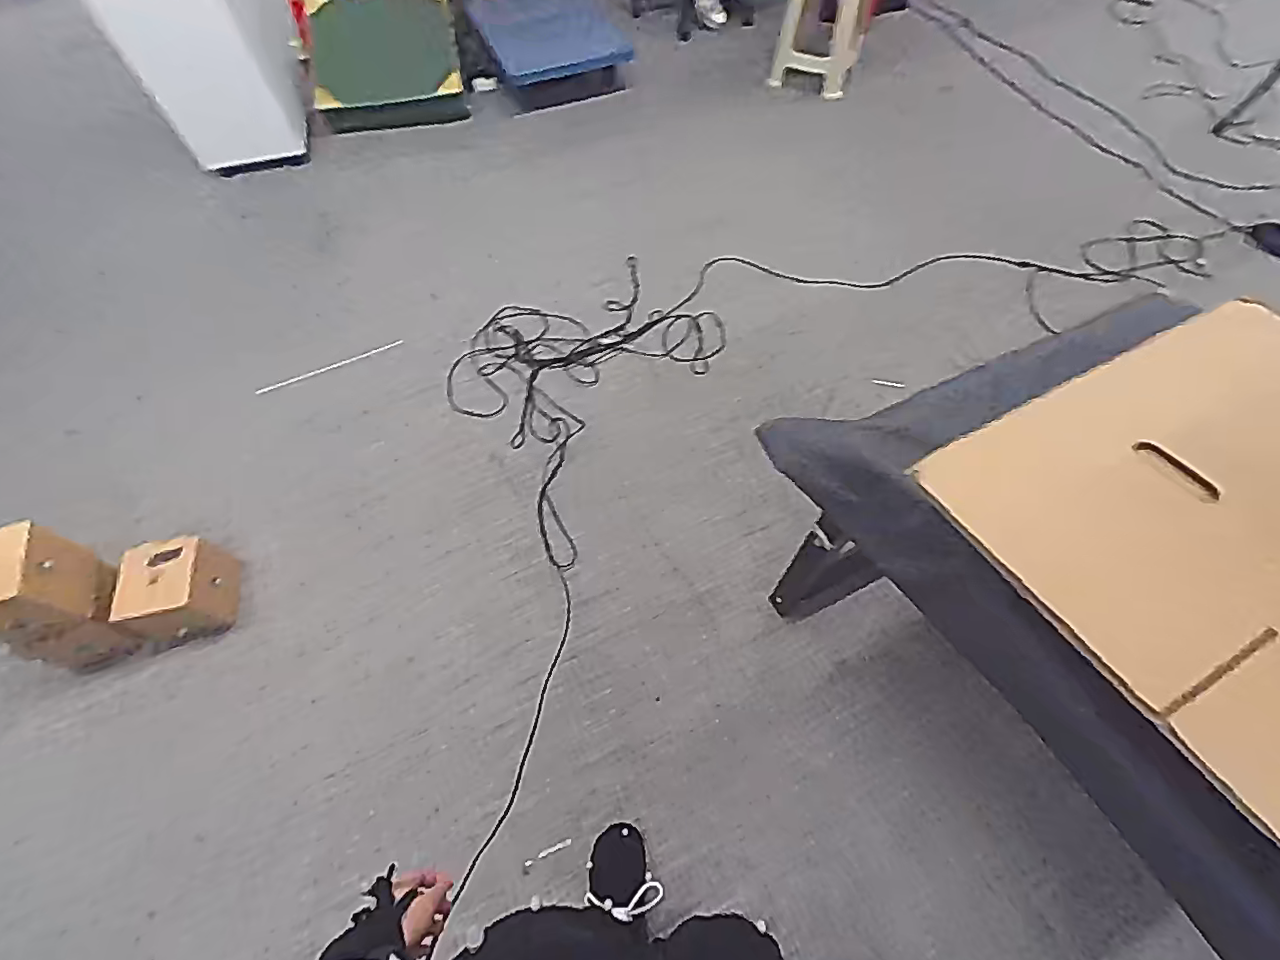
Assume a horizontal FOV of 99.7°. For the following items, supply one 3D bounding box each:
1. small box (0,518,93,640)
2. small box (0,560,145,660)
[{"bbox_3d":[-1.311,0.212,1.134,0.168,0.176,0.179,-19,63,-11],"label":"small box"},{"bbox_3d":[-1.316,0.307,1.267,0.168,0.176,0.179,-20,63,-10],"label":"small box"}]
